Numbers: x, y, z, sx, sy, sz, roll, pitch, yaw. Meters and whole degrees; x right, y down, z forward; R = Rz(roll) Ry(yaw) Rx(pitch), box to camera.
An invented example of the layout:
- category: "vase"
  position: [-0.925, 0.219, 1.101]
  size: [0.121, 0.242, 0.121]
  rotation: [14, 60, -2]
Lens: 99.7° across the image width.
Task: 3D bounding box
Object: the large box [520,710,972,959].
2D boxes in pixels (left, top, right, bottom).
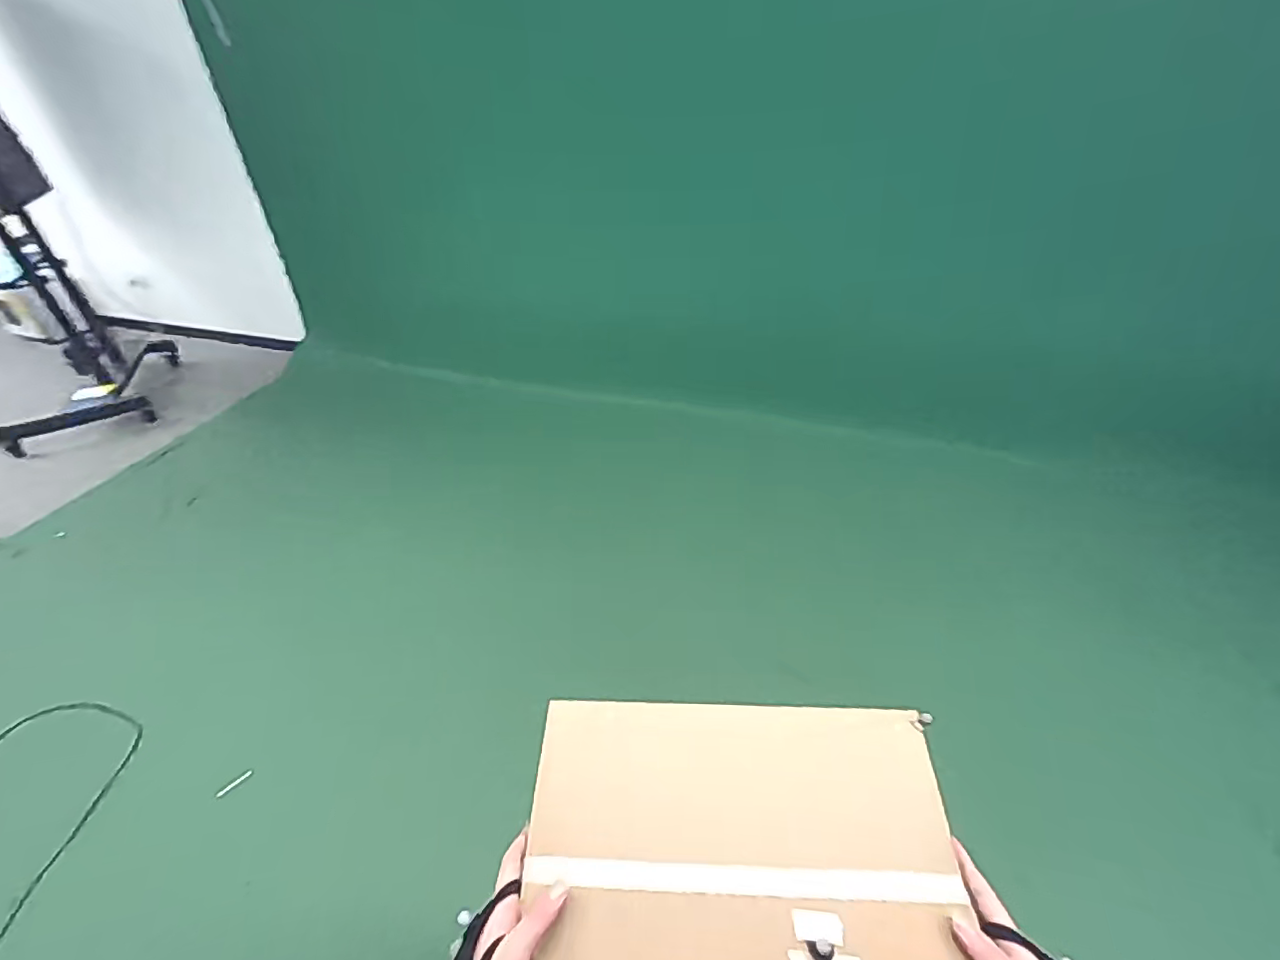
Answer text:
- category: "large box"
  position: [0.098, 0.475, 0.624]
  size: [0.408, 0.320, 0.320]
  rotation: [0, 50, 4]
